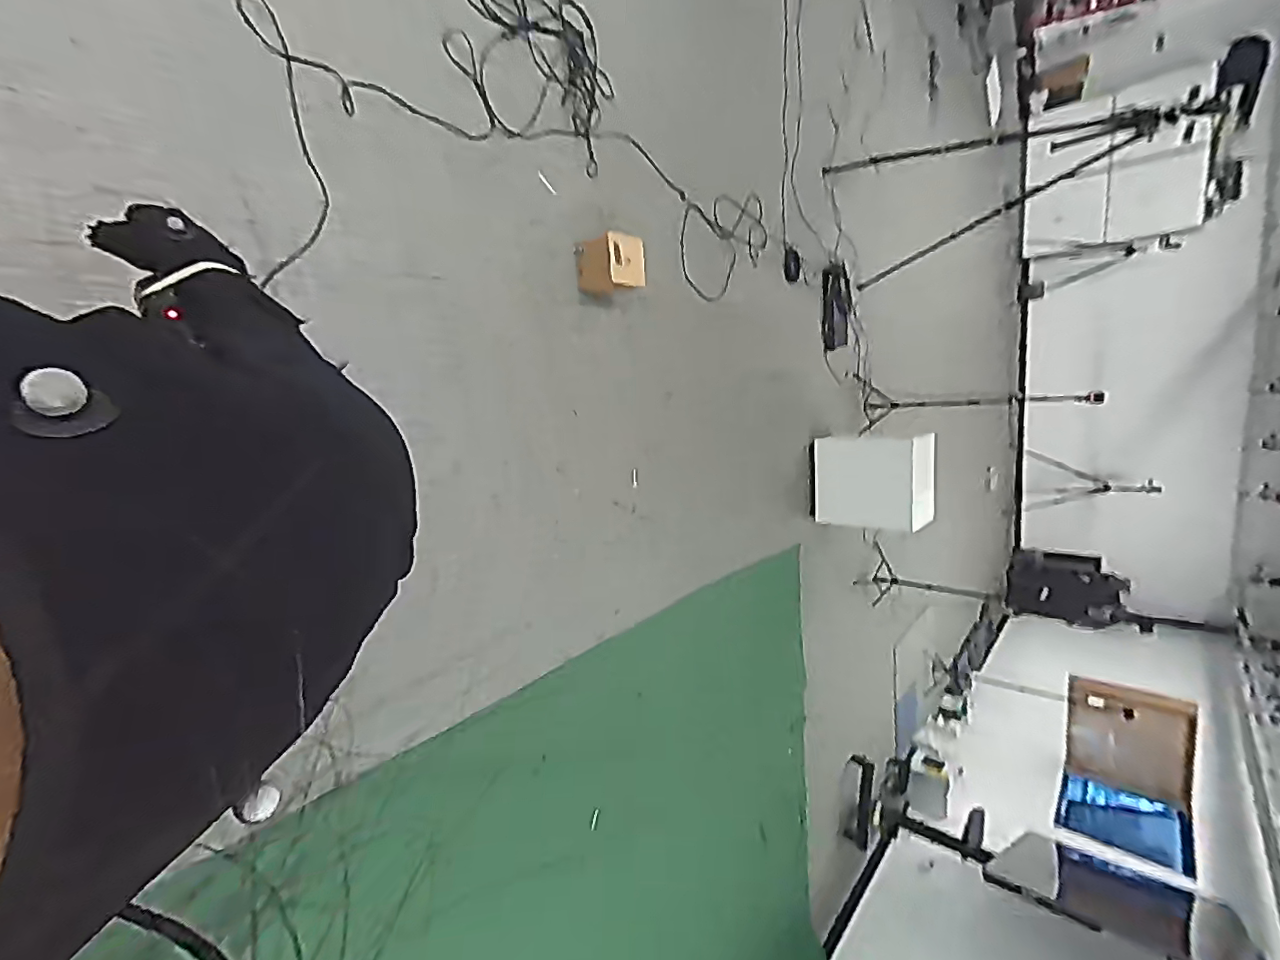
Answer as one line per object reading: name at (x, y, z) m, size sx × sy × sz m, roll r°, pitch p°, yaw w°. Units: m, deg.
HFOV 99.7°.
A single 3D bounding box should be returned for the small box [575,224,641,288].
small box at (-0.120, -0.790, 1.927) m, size 0.179 × 0.176 × 0.168 m, roll -12°, pitch 102°, yaw -46°
